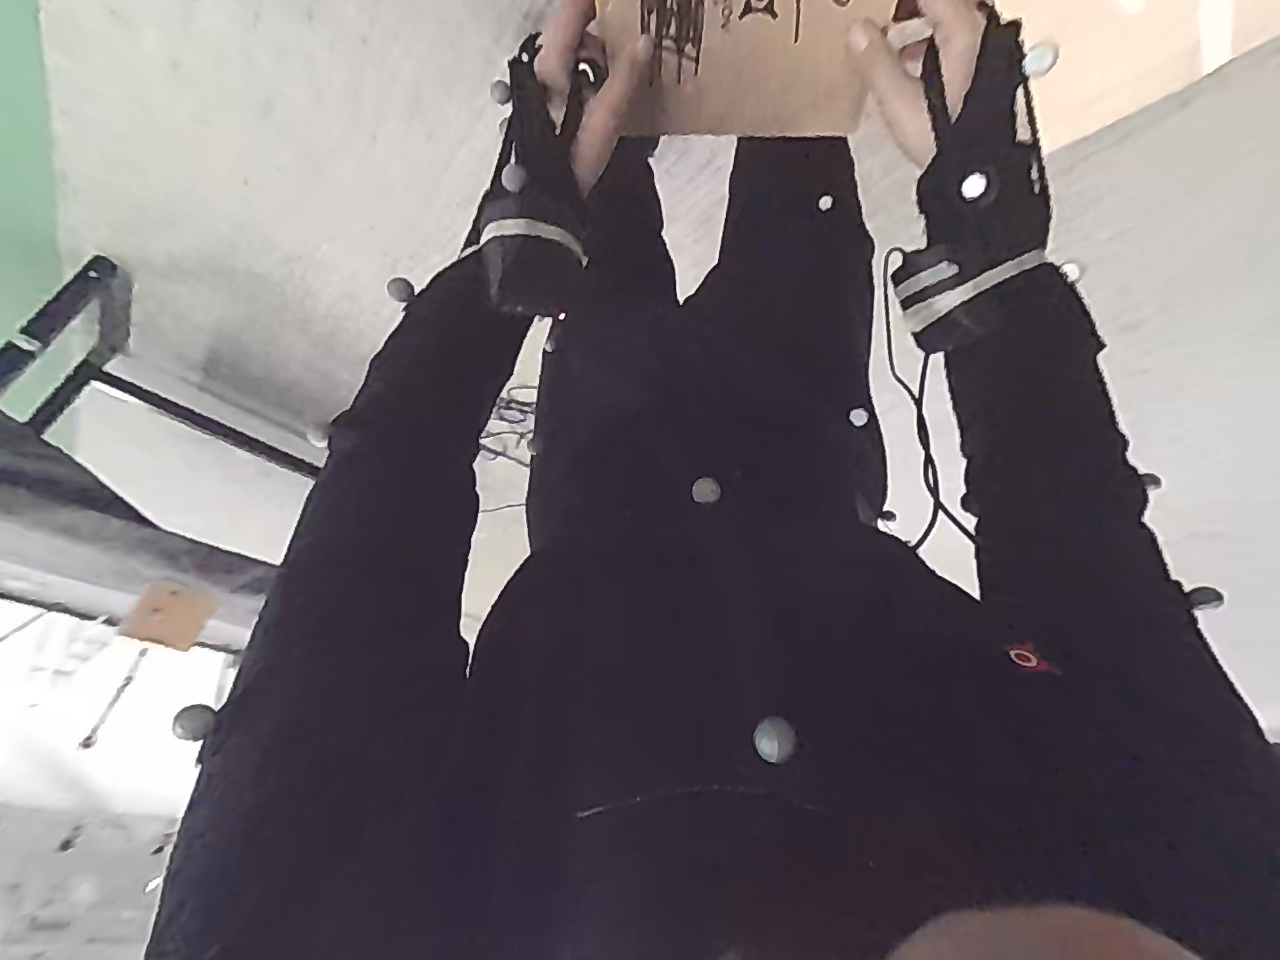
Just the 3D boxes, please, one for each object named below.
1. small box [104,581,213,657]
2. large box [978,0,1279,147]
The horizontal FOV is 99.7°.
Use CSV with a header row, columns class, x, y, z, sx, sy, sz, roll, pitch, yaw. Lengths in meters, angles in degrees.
class,x,y,z,sx,sy,sz,roll,pitch,yaw
small box,-1.361,0.394,1.535,0.179,0.176,0.168,-18,138,41
large box,0.484,-0.655,0.519,0.320,0.320,0.408,-17,141,39
